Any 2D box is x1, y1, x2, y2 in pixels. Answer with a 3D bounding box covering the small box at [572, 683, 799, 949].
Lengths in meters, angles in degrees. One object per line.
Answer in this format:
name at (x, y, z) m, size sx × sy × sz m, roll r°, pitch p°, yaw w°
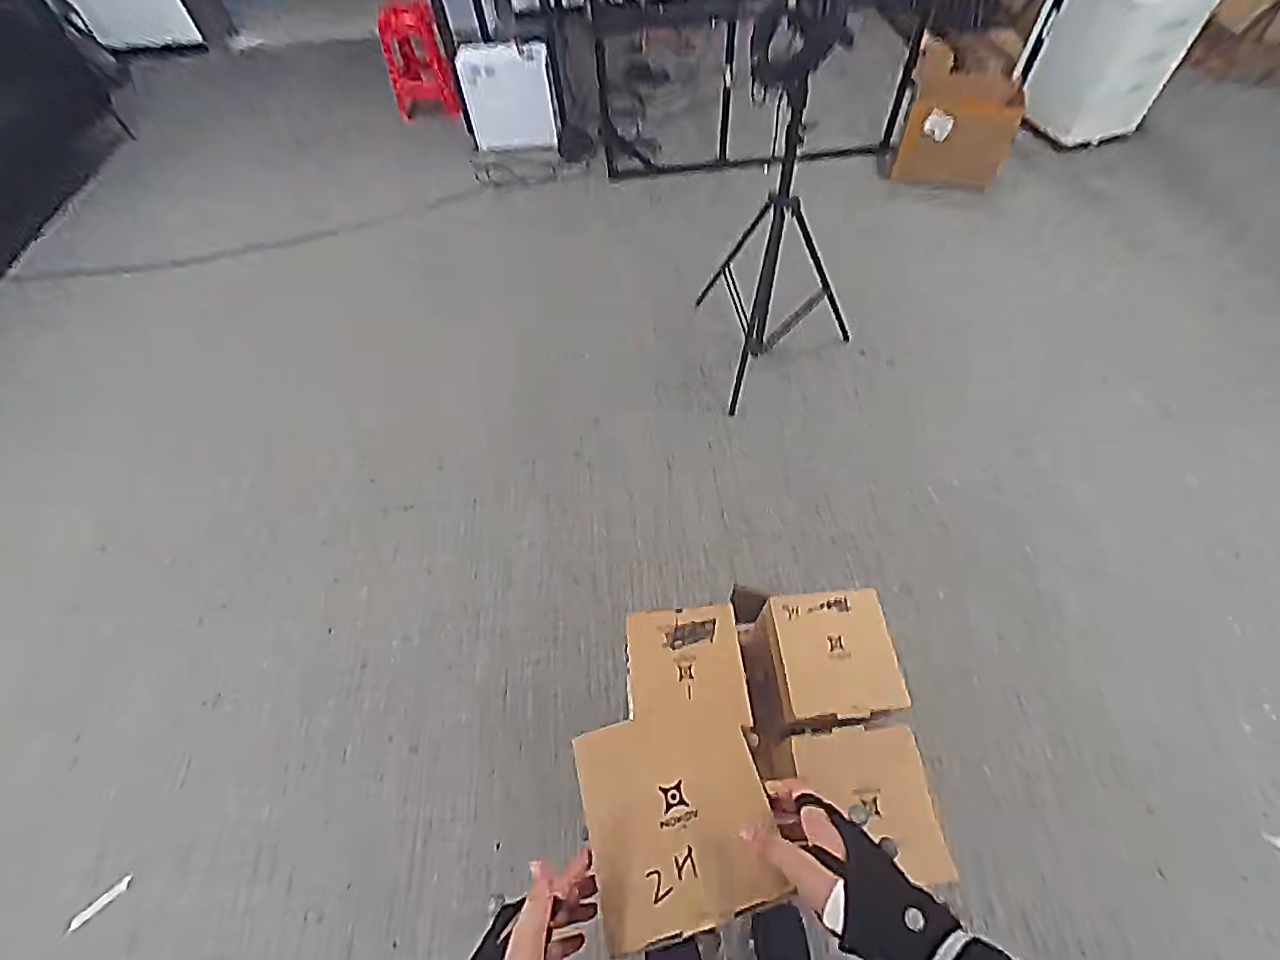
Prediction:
small box at (0.040, 0.339, 0.544) m, size 0.168 × 0.176 × 0.179 m, roll -16°, pitch 49°, yaw -4°
